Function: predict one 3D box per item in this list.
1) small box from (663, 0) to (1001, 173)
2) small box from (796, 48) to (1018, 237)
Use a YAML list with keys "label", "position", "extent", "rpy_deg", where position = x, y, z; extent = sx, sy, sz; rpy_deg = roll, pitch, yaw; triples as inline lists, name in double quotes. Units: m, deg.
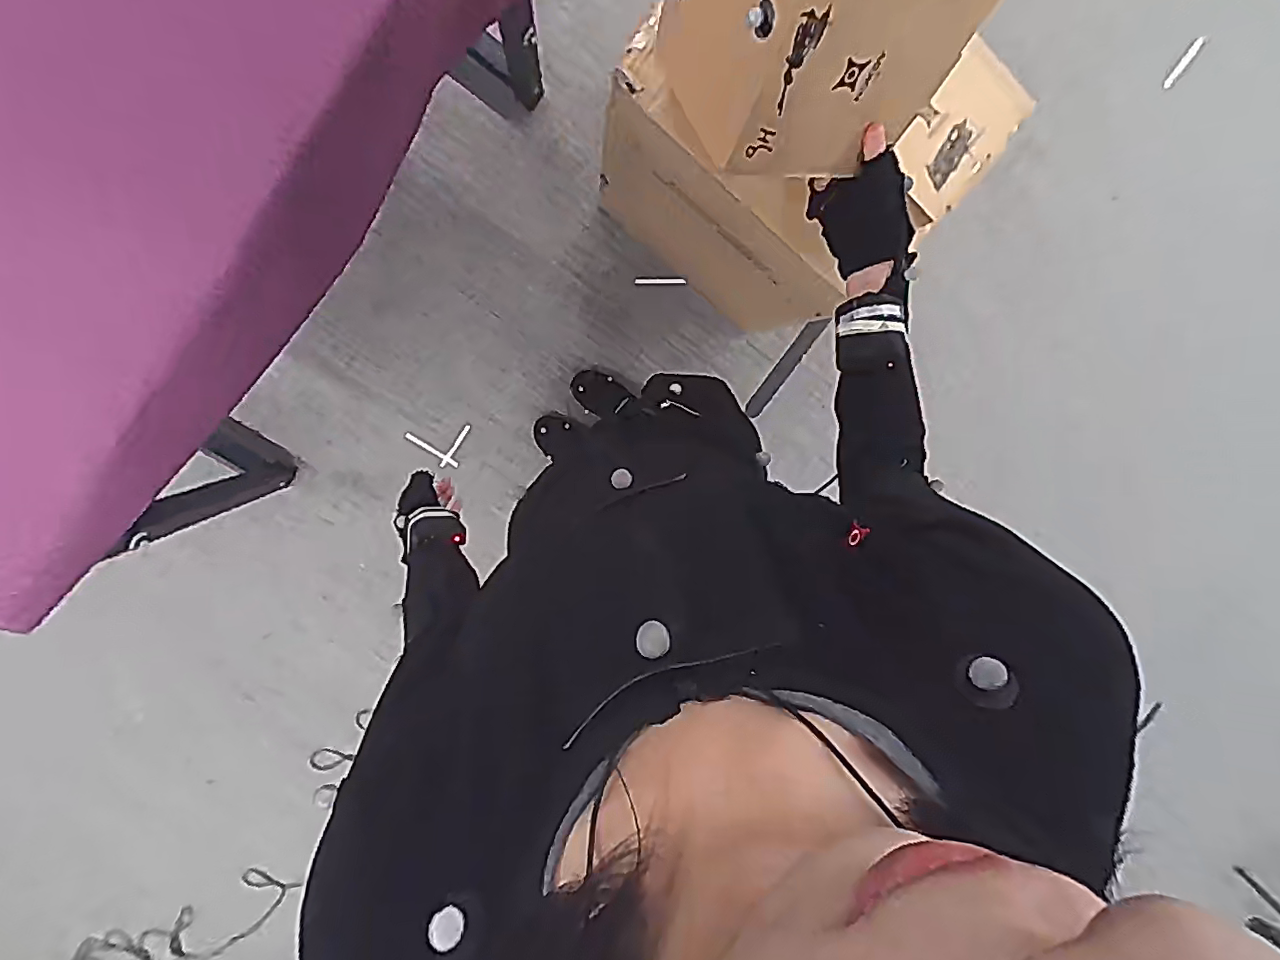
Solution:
- label: "small box"
  position: [0.144, -0.383, 0.437]
  extent: [0.179, 0.168, 0.176]
  rpy_deg: [-12, 67, -23]
- label: "small box"
  position: [0.352, -0.464, 0.746]
  extent: [0.179, 0.176, 0.168]
  rpy_deg: [39, 95, -10]
